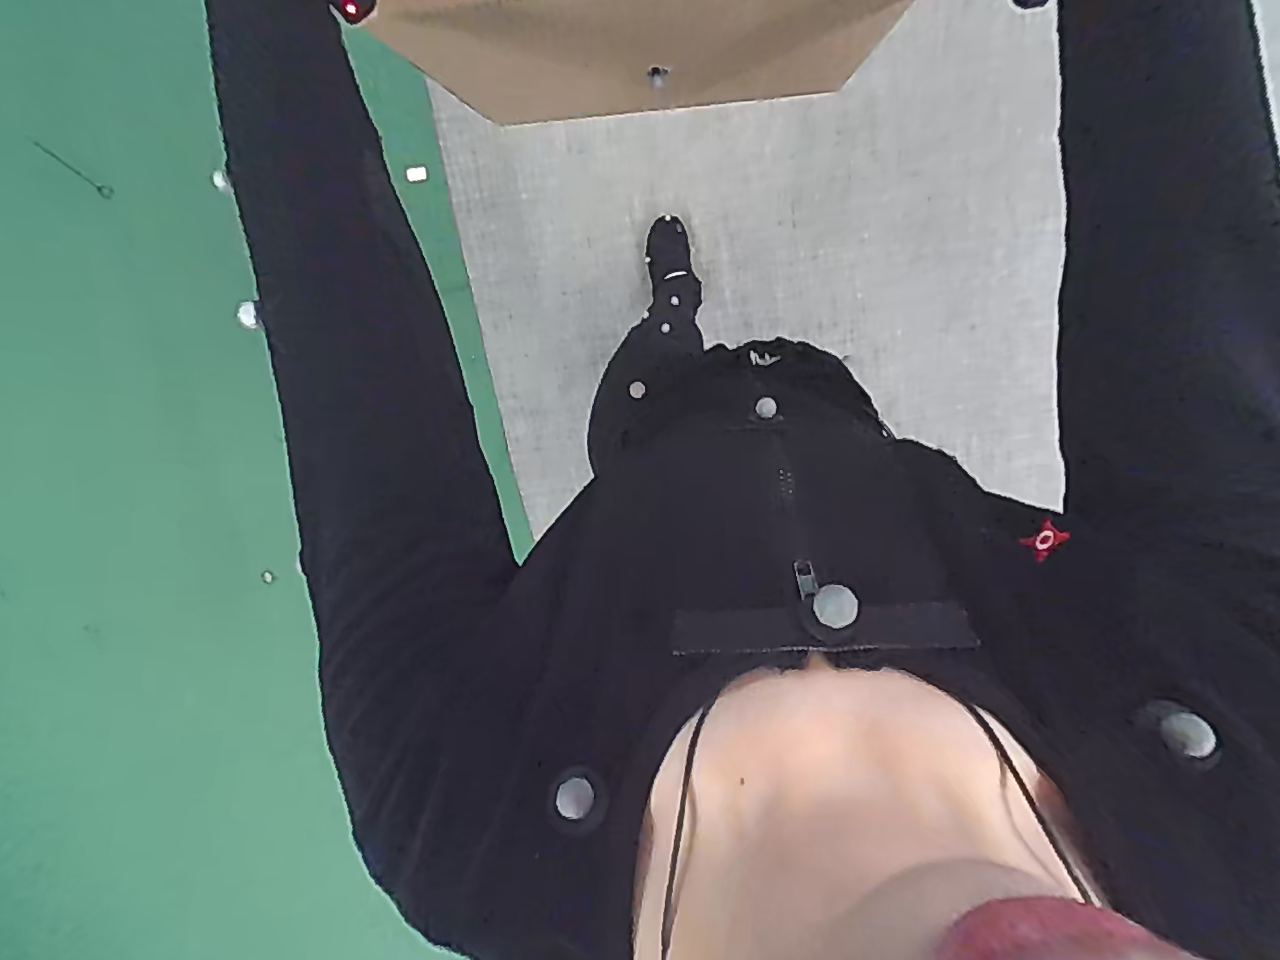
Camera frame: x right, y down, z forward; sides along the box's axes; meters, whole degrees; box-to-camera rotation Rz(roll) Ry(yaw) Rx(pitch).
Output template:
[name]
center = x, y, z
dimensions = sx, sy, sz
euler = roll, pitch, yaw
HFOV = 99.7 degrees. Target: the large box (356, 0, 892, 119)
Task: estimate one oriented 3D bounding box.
[large box]
center = 0.002, -0.528, 0.437
dimensions = 0.408, 0.320, 0.320
euler = -2, 110, 7
